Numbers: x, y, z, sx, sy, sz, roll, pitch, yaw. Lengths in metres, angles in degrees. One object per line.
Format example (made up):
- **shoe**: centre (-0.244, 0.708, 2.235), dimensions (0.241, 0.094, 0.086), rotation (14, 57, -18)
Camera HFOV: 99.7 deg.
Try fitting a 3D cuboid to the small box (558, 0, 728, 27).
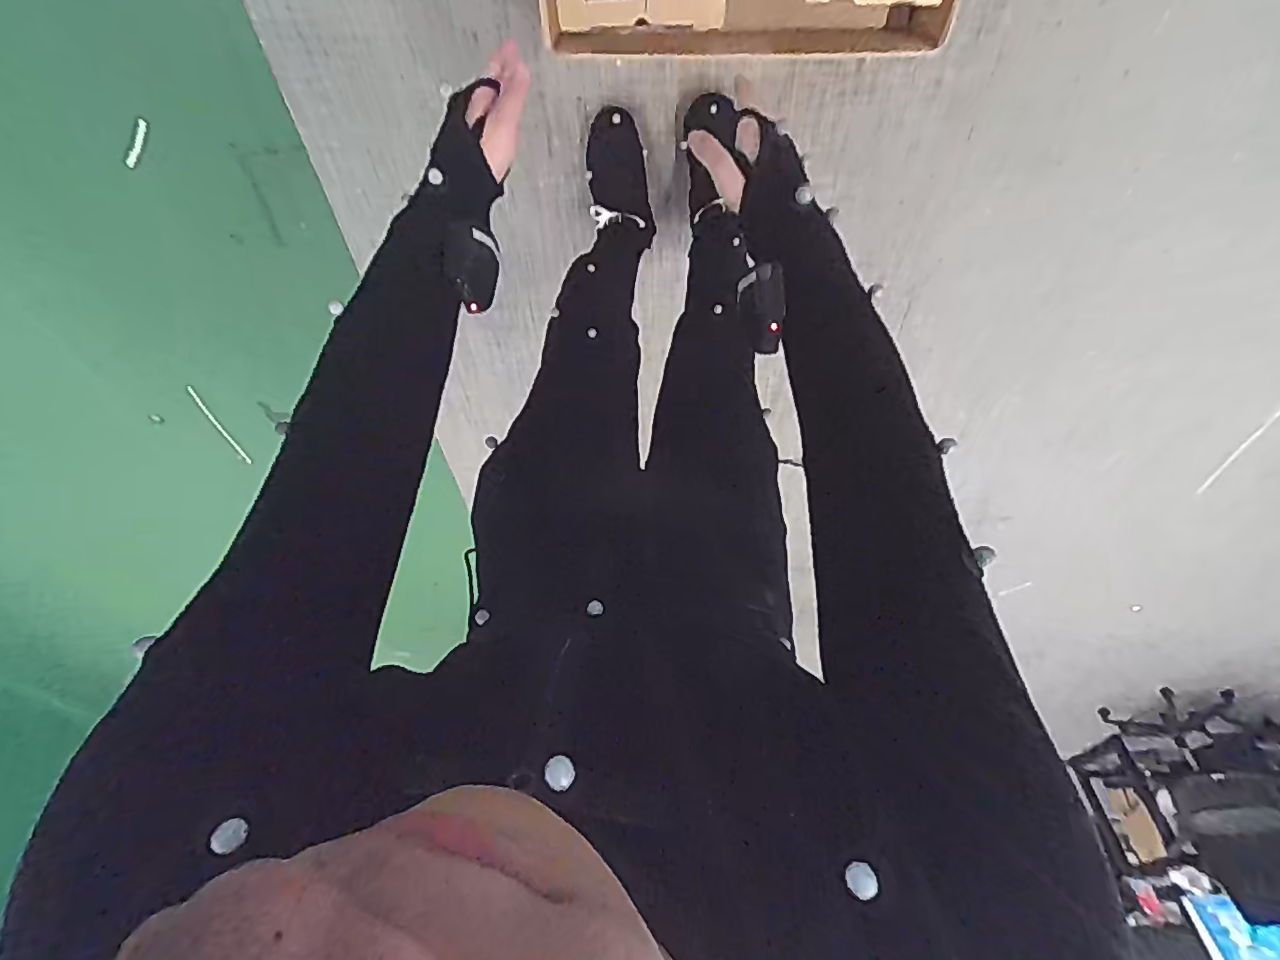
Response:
- **small box**: centre (0.005, -0.561, 0.516), dimensions (0.168, 0.176, 0.179), rotation (0, 138, 1)
